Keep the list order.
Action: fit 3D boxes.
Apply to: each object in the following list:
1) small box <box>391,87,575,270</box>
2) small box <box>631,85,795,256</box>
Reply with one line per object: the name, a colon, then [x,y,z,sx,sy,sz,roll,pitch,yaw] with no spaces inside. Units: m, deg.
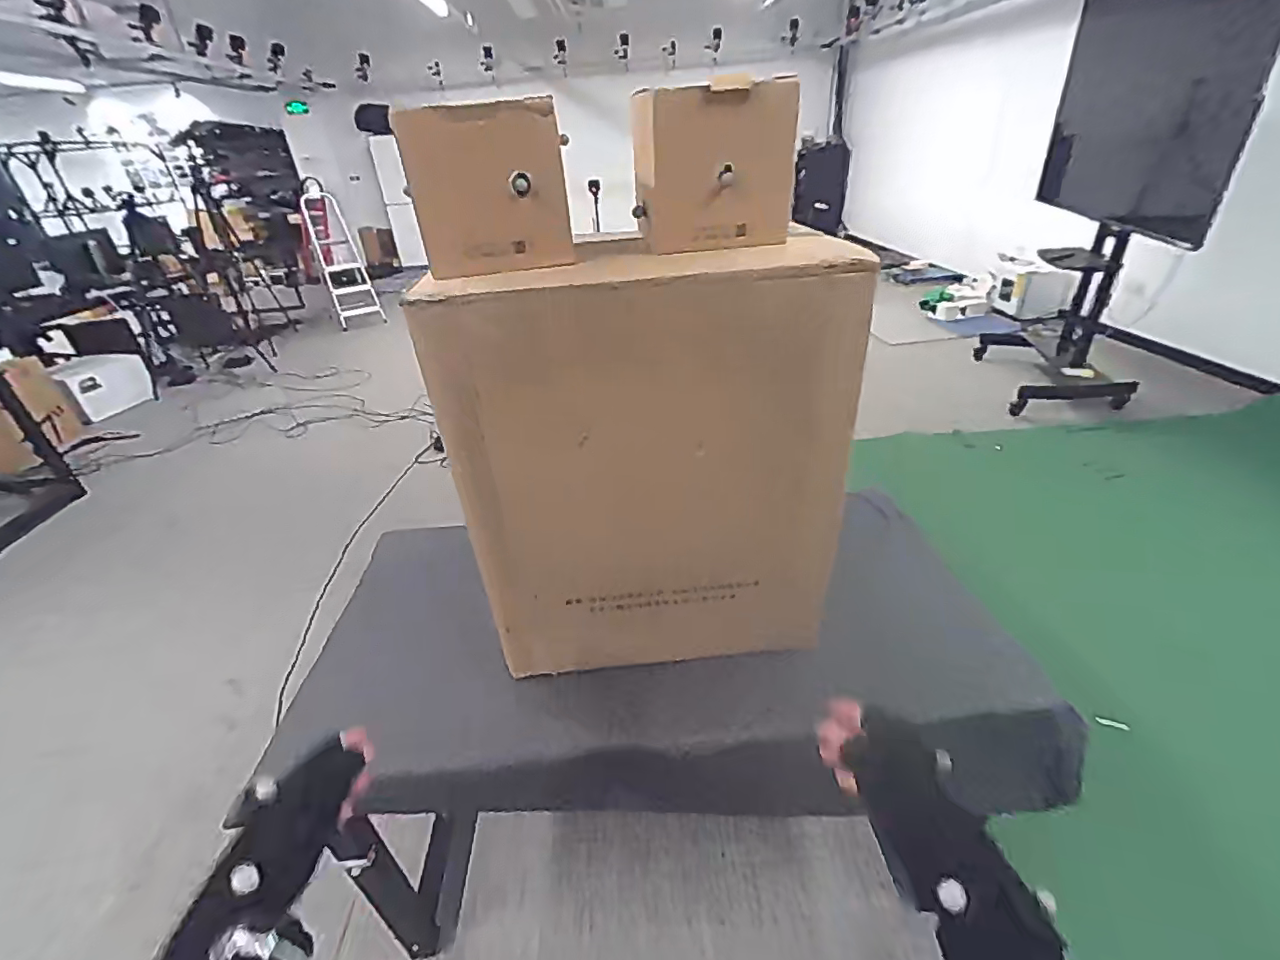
small box: [-0.179,-0.361,0.653,0.168,0.176,0.179,-11,35,-9]
small box: [0.085,-0.391,0.689,0.168,0.176,0.179,-7,35,-4]
